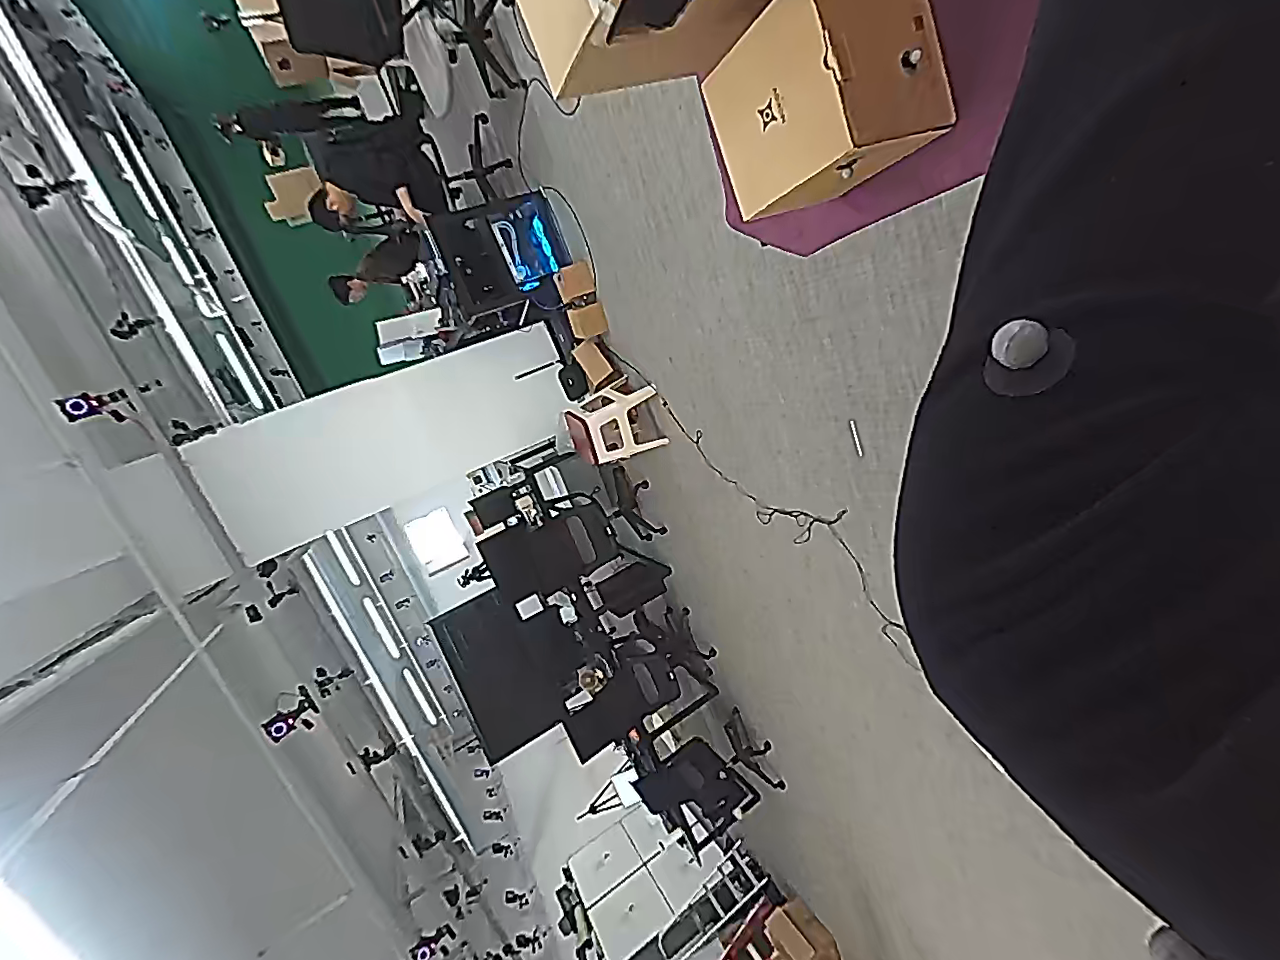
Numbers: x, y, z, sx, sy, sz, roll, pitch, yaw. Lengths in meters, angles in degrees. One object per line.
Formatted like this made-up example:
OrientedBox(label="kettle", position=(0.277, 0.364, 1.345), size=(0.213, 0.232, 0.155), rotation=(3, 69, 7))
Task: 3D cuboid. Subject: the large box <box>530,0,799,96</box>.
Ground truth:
OrientedBox(label="large box", position=(0.020, -0.708, 0.539), size=(0.320, 0.320, 0.408), rotation=(7, 124, 65))
